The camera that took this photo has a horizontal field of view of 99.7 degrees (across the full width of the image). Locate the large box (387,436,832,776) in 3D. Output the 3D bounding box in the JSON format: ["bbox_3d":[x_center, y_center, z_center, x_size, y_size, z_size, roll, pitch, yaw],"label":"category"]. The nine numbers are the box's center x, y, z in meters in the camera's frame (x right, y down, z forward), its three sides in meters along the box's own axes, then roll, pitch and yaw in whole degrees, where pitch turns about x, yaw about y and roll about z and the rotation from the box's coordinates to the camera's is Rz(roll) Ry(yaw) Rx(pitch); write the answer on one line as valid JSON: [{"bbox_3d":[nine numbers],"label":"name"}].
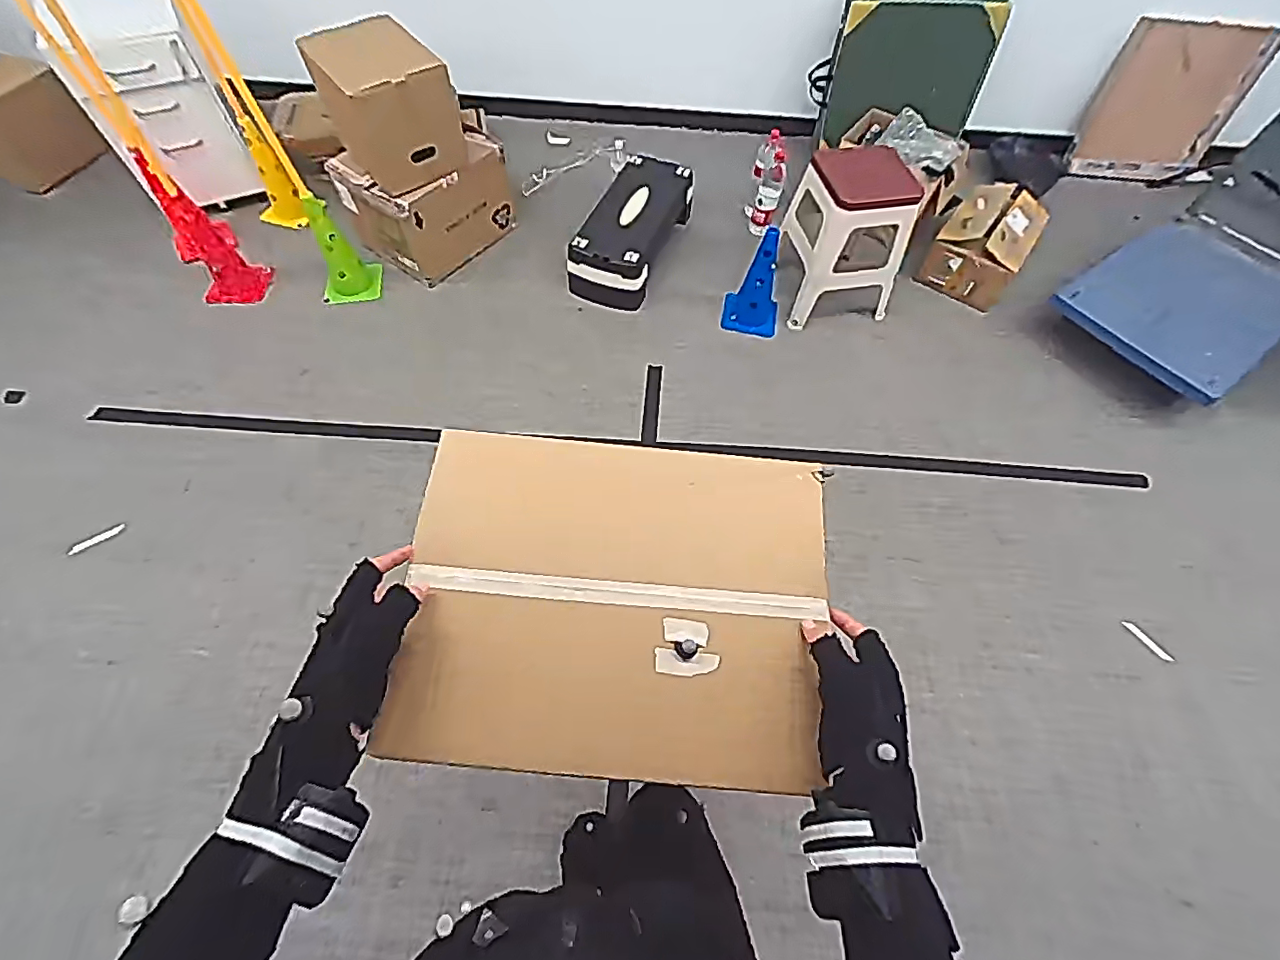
[{"bbox_3d":[-0.025,0.165,0.670,0.408,0.320,0.320,5,68,-1],"label":"large box"}]
